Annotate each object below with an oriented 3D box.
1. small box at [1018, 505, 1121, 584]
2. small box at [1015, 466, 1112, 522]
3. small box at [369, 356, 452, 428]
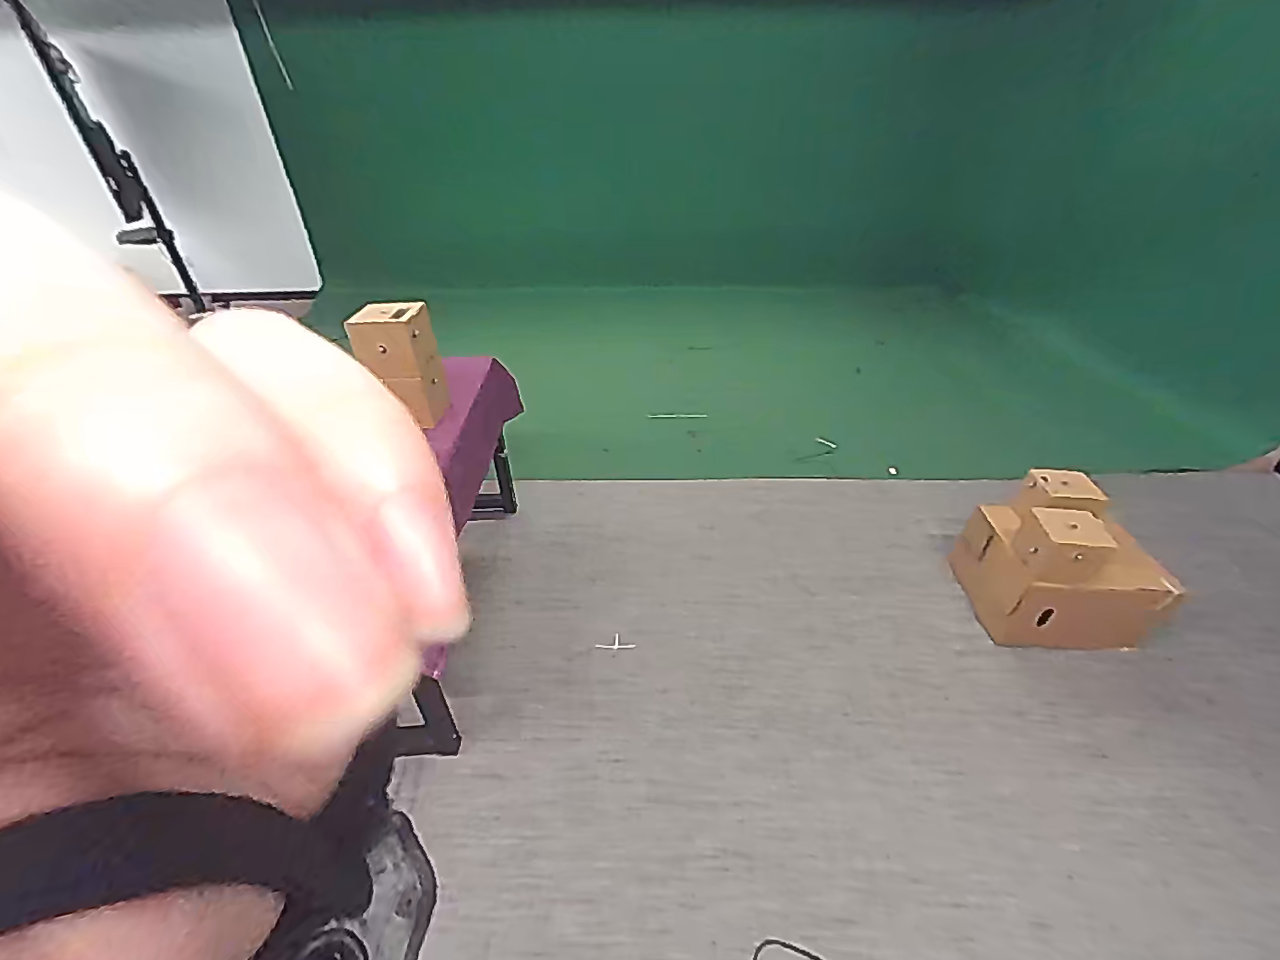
[{"bbox_3d":[1.298,0.199,1.655,0.179,0.176,0.168,5,37,7],"label":"small box"},{"bbox_3d":[1.423,0.074,1.831,0.179,0.176,0.168,5,35,6],"label":"small box"},{"bbox_3d":[-0.702,-0.271,1.679,0.168,0.176,0.179,0,35,2],"label":"small box"}]
